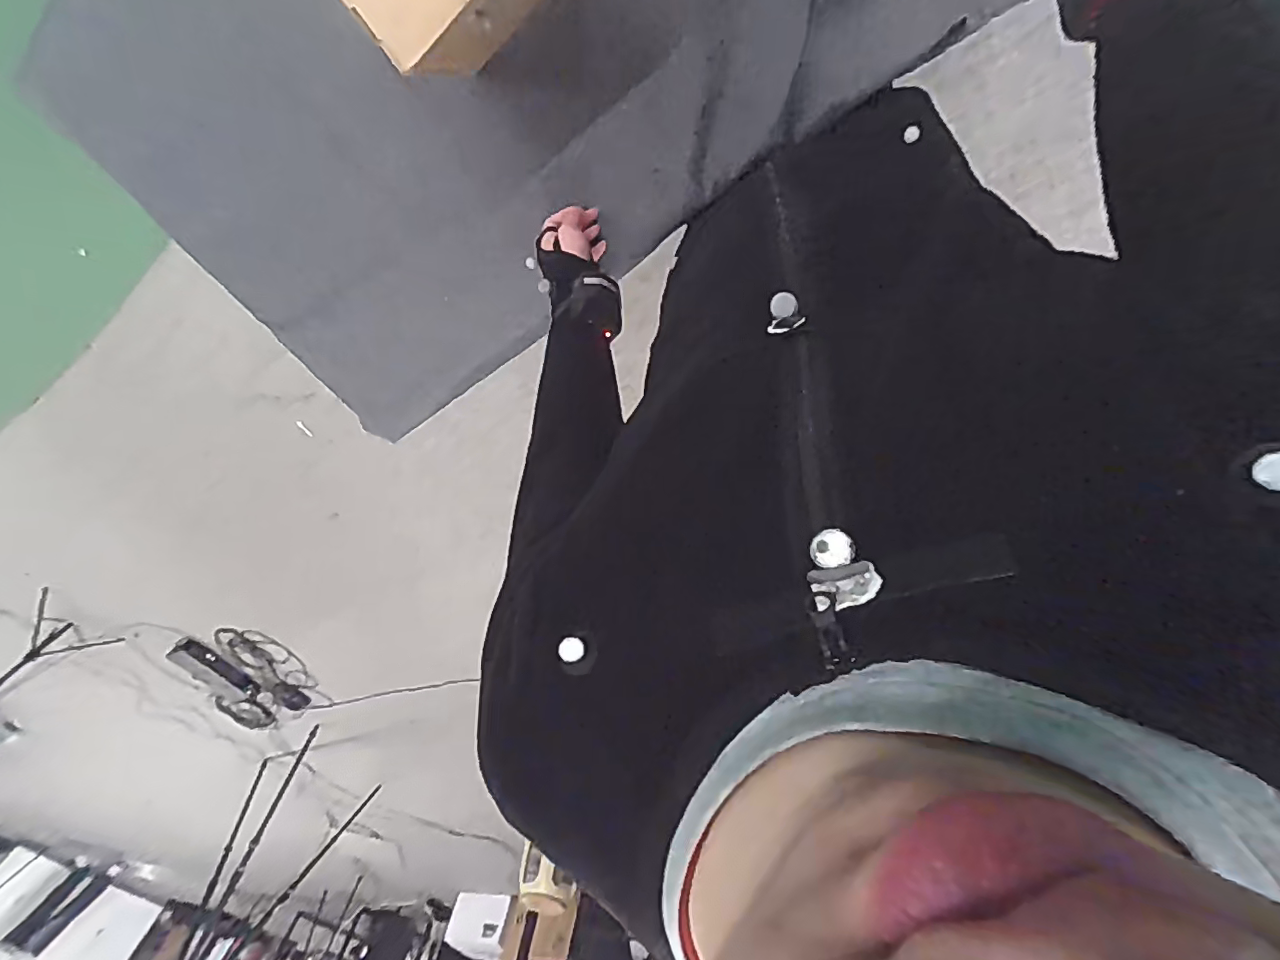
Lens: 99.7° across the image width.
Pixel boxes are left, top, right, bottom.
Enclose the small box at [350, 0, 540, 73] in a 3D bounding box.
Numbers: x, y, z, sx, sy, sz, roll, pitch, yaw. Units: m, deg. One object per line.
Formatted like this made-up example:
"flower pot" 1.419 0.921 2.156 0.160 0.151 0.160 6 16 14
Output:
"small box" -0.178 -0.505 0.482 0.179 0.176 0.168 -27 119 26
